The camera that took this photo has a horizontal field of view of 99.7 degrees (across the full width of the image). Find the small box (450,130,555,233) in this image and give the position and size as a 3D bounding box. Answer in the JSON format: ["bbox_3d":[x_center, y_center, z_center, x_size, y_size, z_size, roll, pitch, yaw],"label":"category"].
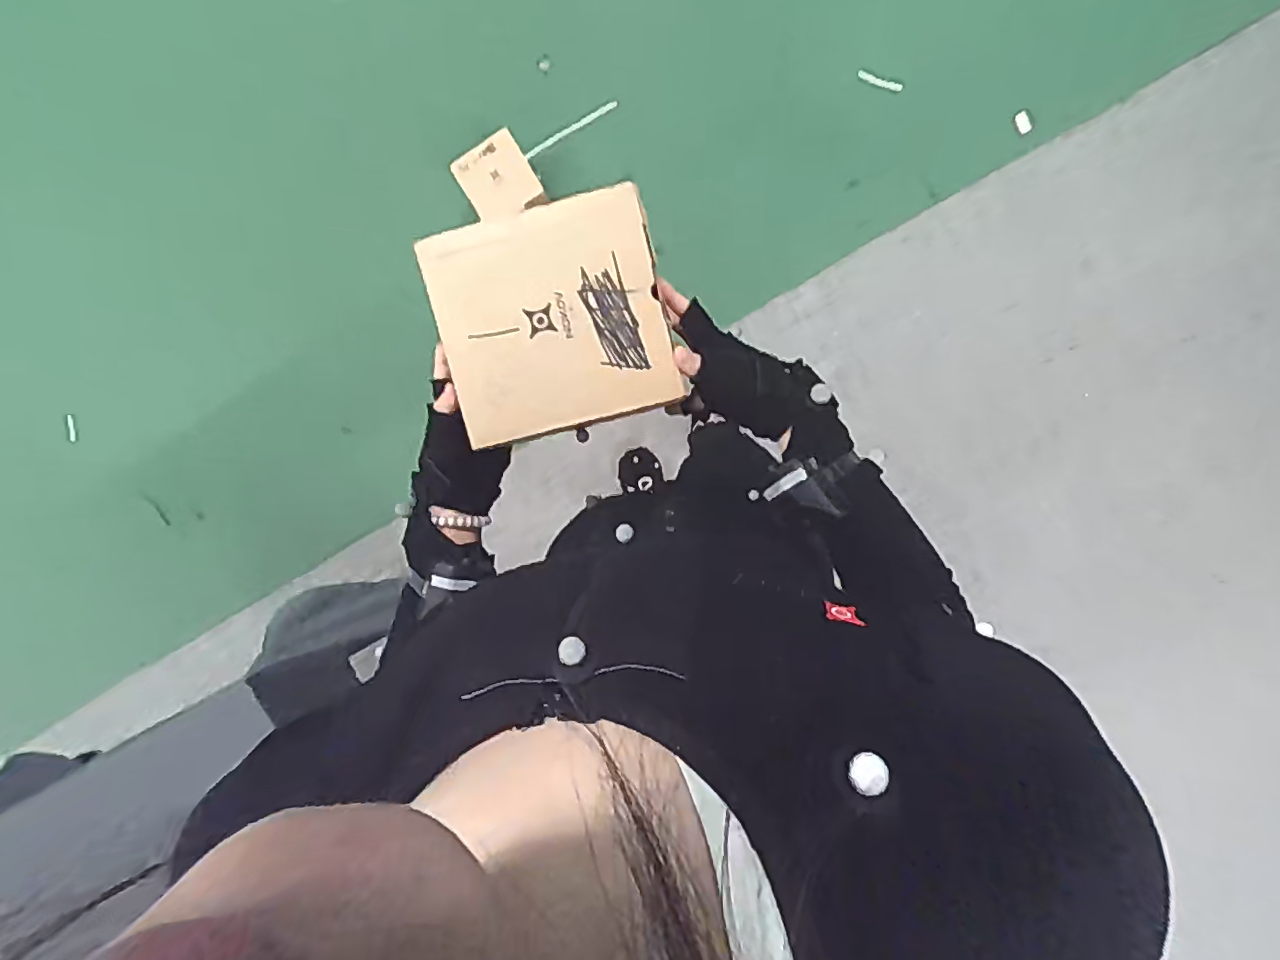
[{"bbox_3d":[-0.333,-0.712,1.351,0.168,0.176,0.179,-31,94,5],"label":"small box"}]

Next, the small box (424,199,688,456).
[{"bbox_3d":[-0.064,-0.125,0.497,0.179,0.176,0.168,-14,95,2],"label":"small box"}]
